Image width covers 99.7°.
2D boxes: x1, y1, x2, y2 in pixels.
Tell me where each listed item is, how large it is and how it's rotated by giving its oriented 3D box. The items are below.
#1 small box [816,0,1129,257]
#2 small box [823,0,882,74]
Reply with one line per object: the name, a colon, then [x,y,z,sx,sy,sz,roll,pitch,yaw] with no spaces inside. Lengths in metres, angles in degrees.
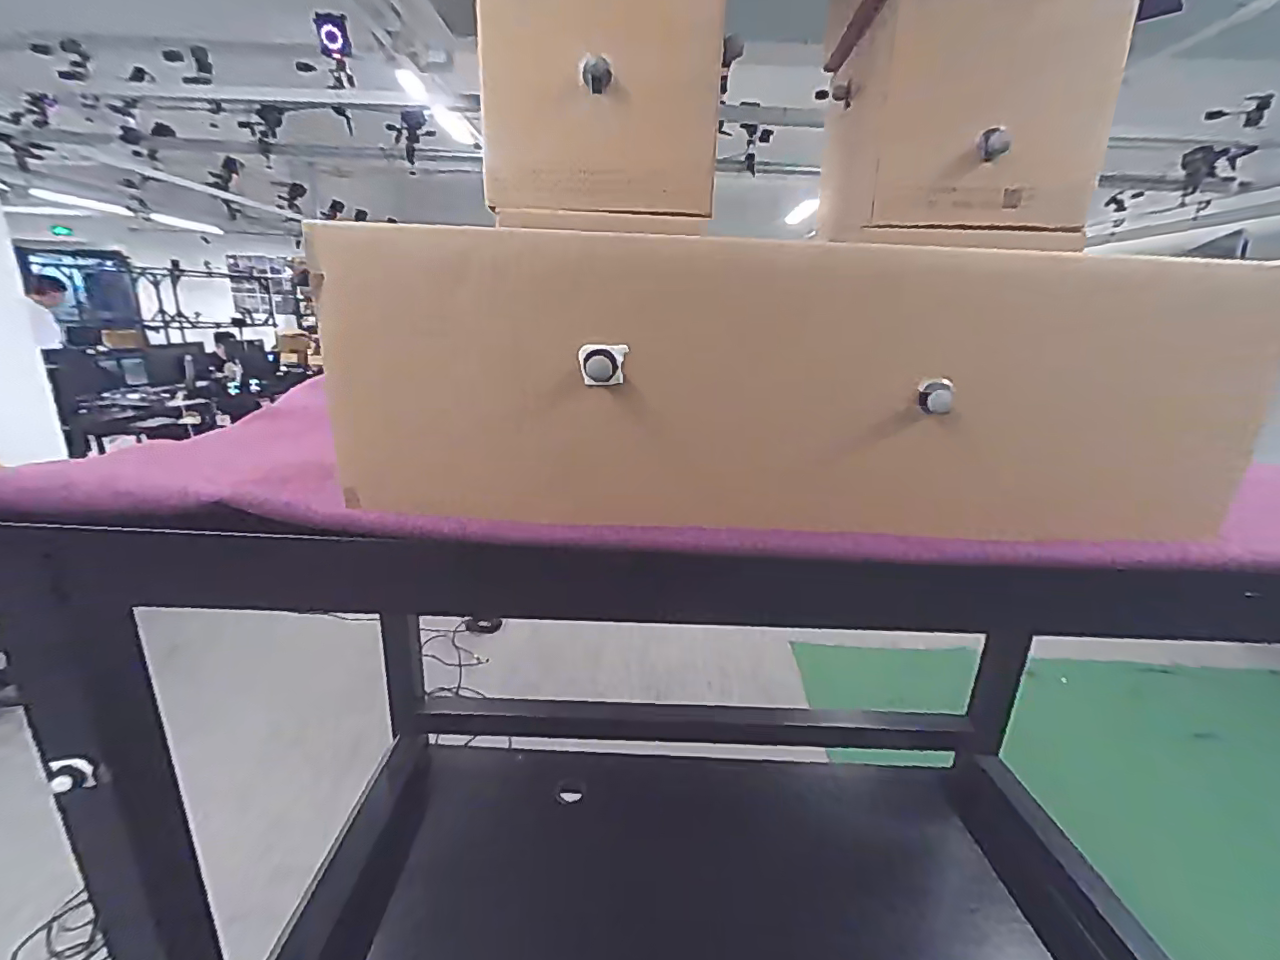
small box: [0.264,-0.295,0.479,0.168,0.176,0.179,1,16,3]
small box: [0.254,-0.451,0.430,0.168,0.176,0.179,2,16,3]
